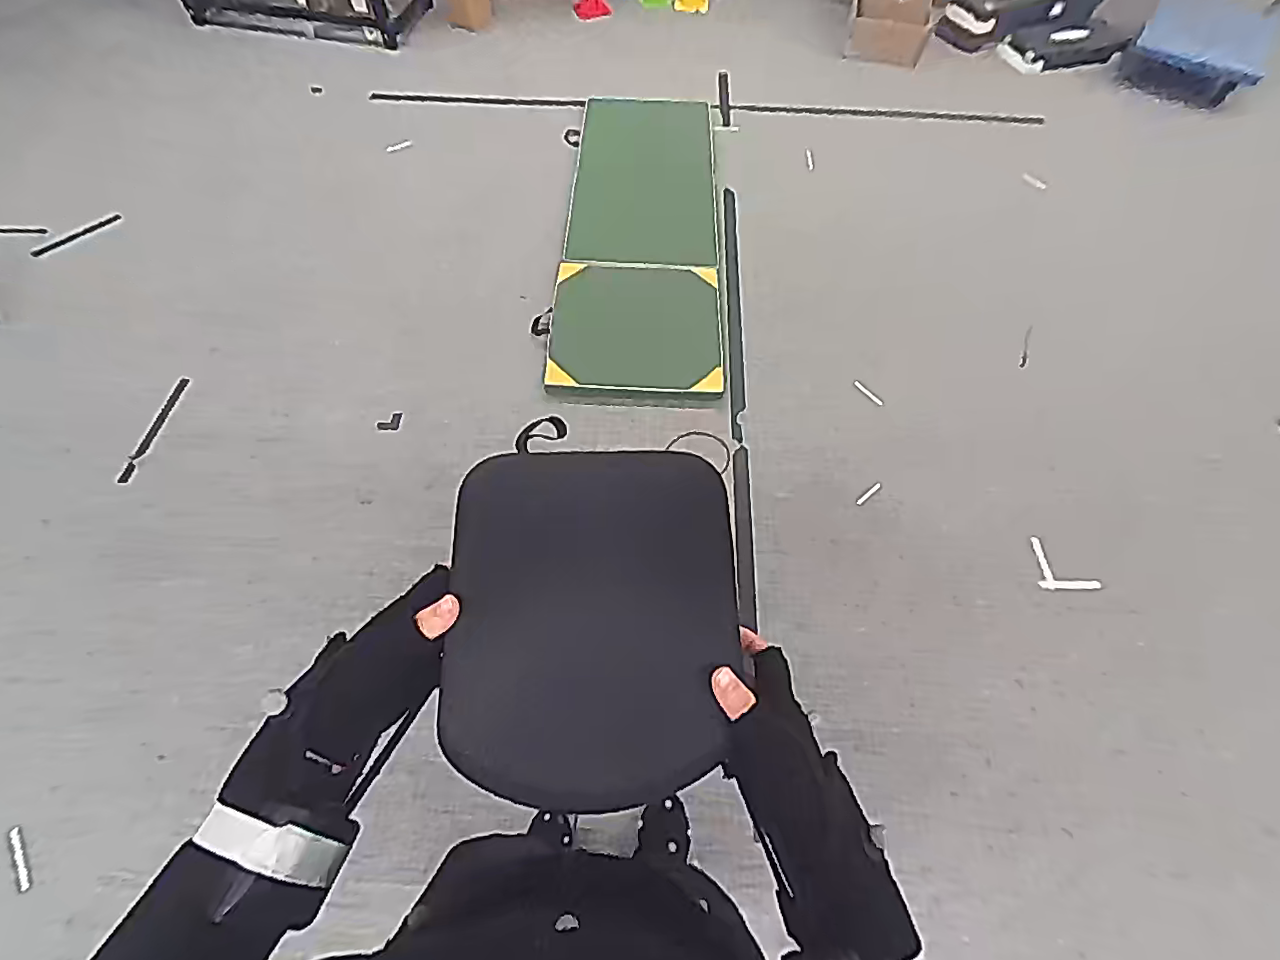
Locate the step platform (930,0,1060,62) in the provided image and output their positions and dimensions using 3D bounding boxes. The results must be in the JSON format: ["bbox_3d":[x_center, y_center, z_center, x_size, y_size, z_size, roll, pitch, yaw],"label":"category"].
[{"bbox_3d":[2.033,-2.623,3.094,0.684,0.204,0.286,-24,64,-14],"label":"step platform"}]
